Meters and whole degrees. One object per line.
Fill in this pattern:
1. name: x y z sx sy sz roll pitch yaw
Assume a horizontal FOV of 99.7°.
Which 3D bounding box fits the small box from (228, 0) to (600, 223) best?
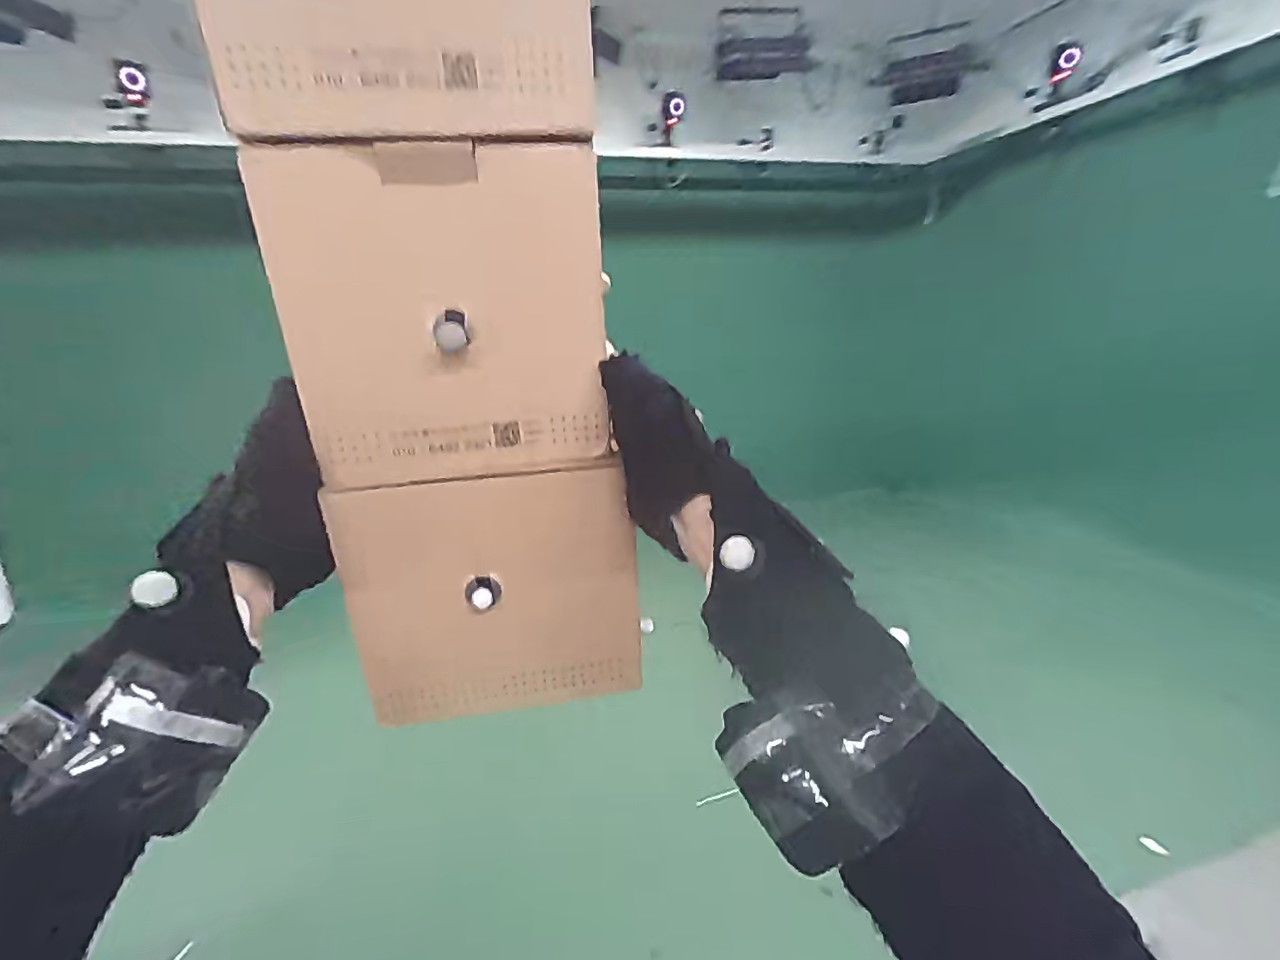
1. small box: -0.117 -0.253 0.319 0.168 0.176 0.179 -5 18 -9
